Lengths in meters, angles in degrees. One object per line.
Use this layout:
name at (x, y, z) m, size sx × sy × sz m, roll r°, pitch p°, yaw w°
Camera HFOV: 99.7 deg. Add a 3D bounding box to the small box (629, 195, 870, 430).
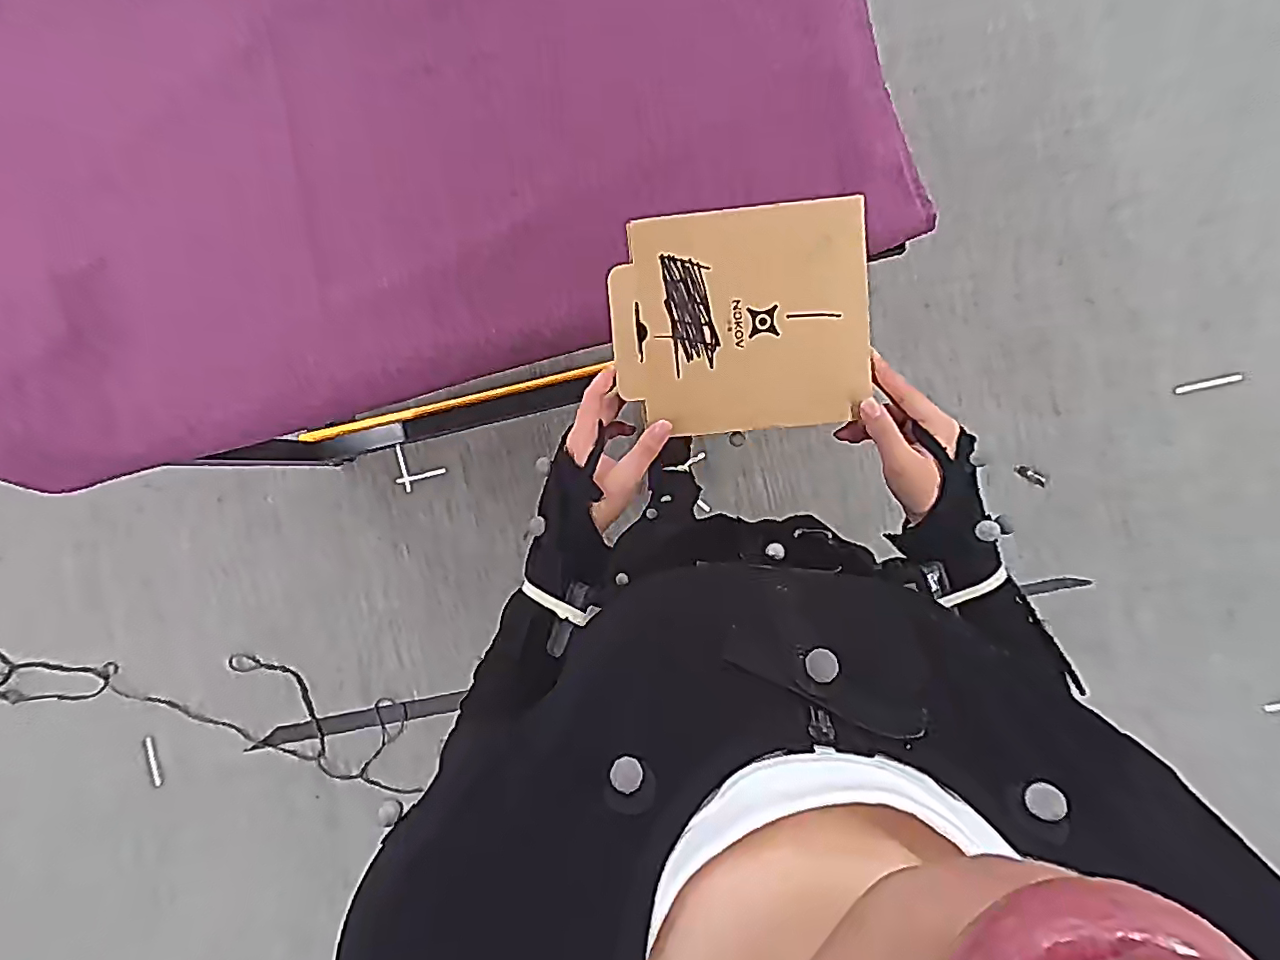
small box at (0.088, -0.132, 0.489) m, size 0.179 × 0.176 × 0.168 m, roll -5°, pitch 97°, yaw 3°
